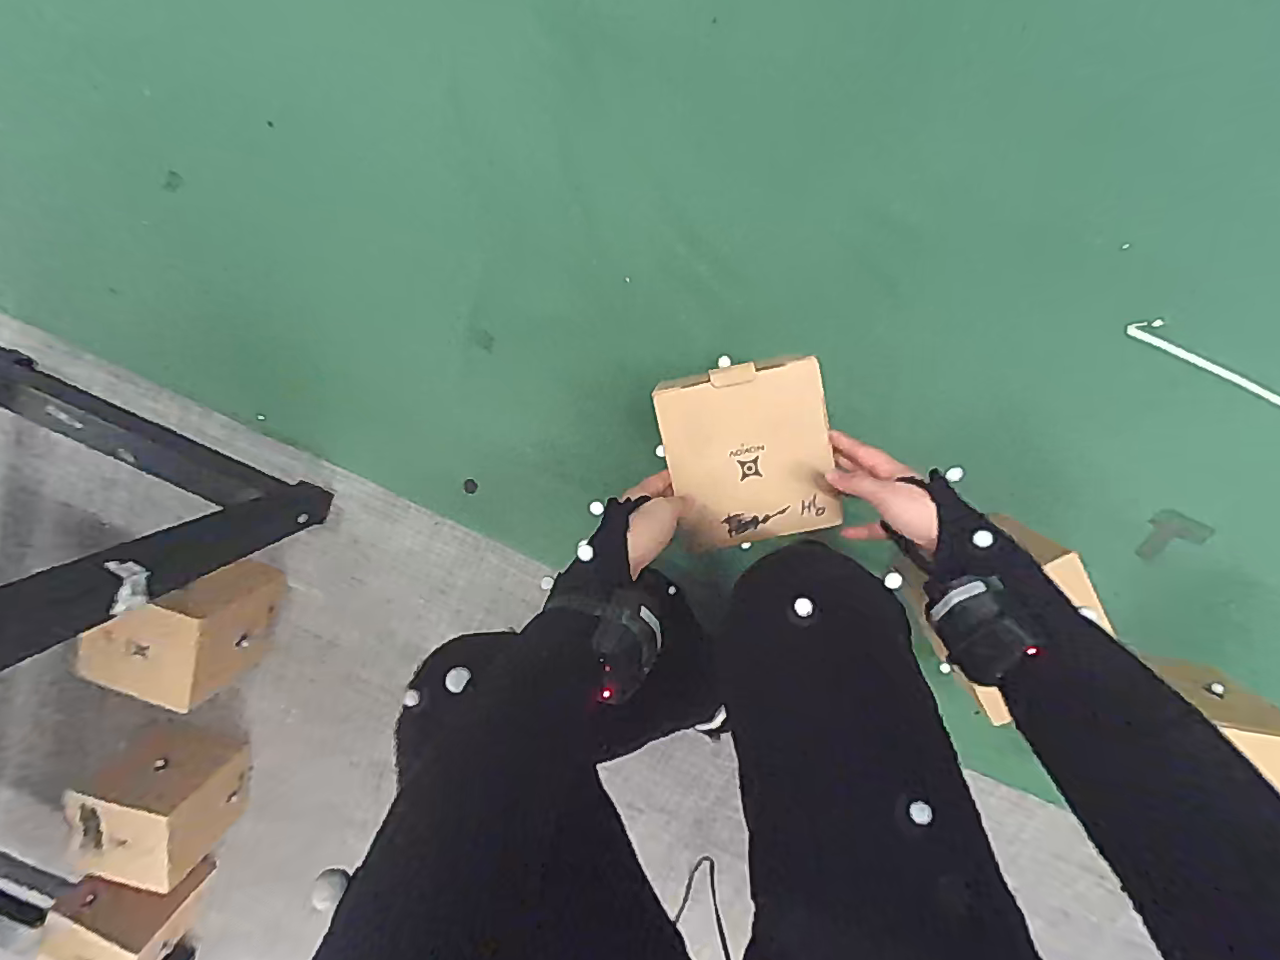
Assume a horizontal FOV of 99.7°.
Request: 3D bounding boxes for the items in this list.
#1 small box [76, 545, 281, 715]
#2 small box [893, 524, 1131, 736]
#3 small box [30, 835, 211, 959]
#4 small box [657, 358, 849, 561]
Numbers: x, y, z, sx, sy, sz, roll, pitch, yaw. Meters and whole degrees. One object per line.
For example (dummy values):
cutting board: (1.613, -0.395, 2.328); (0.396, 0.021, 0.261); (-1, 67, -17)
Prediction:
small box: (-0.703, 0.220, 0.840); (0.179, 0.176, 0.168); (20, 104, 1)
small box: (0.466, 0.184, 0.706); (0.168, 0.176, 0.179); (-29, 98, 11)
small box: (-0.967, 0.821, 1.019); (0.179, 0.176, 0.168); (29, 105, -1)
small box: (0.117, -0.034, 0.607); (0.168, 0.176, 0.179); (-12, 104, 8)
